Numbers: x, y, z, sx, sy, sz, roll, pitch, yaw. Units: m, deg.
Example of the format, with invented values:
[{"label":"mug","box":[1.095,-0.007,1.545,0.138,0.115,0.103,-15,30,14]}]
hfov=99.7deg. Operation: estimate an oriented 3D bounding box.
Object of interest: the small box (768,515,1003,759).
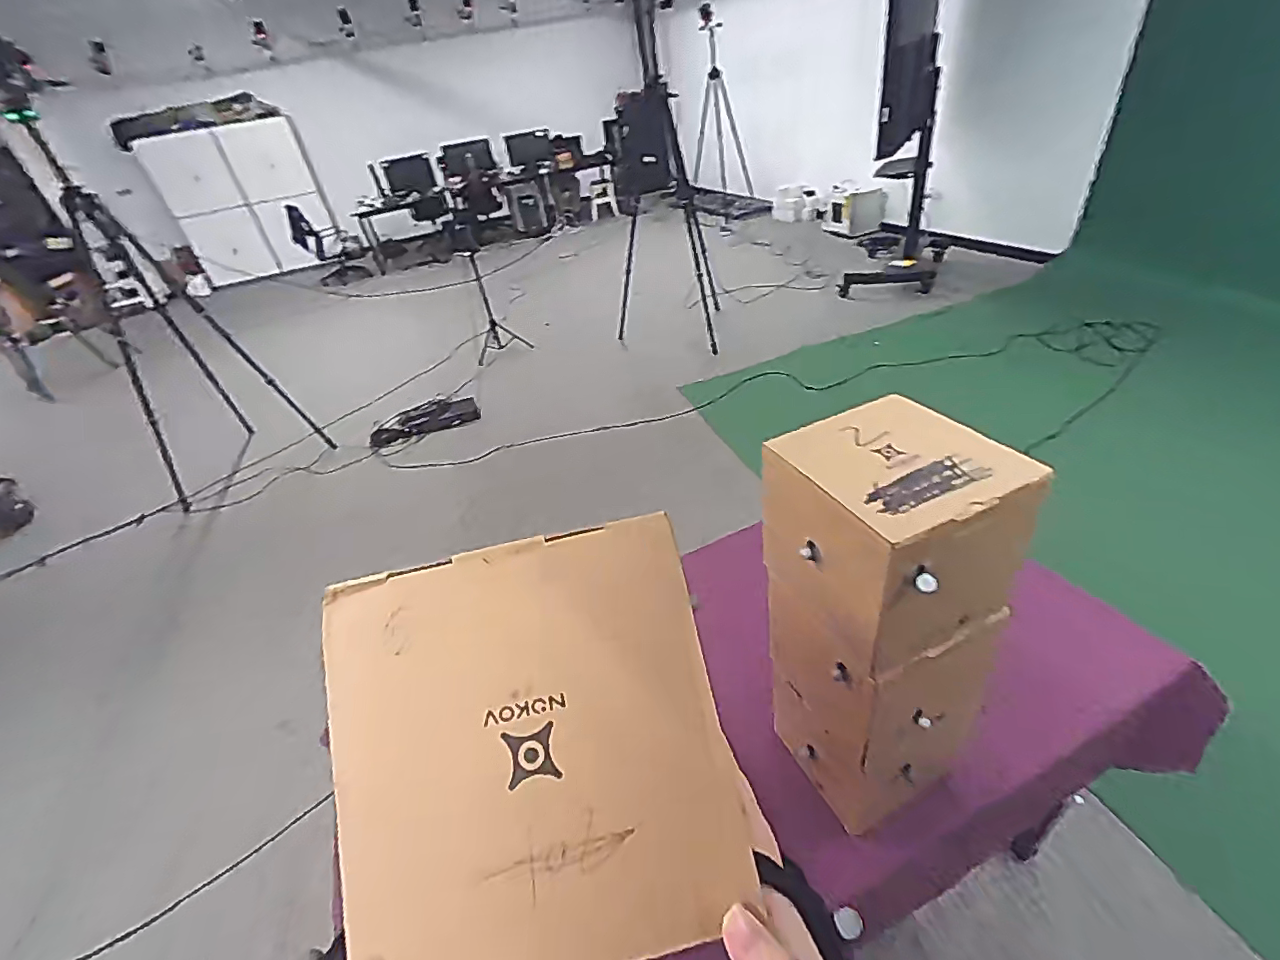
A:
[{"label":"small box","box":[0.262,0.175,0.623,0.168,0.176,0.179,-21,37,-14]}]

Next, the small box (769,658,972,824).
[{"label":"small box","box":[0.292,0.308,0.713,0.179,0.176,0.168,-22,38,-15]}]

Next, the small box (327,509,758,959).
[{"label":"small box","box":[-0.049,0.130,0.311,0.168,0.176,0.179,-12,76,-3]}]
